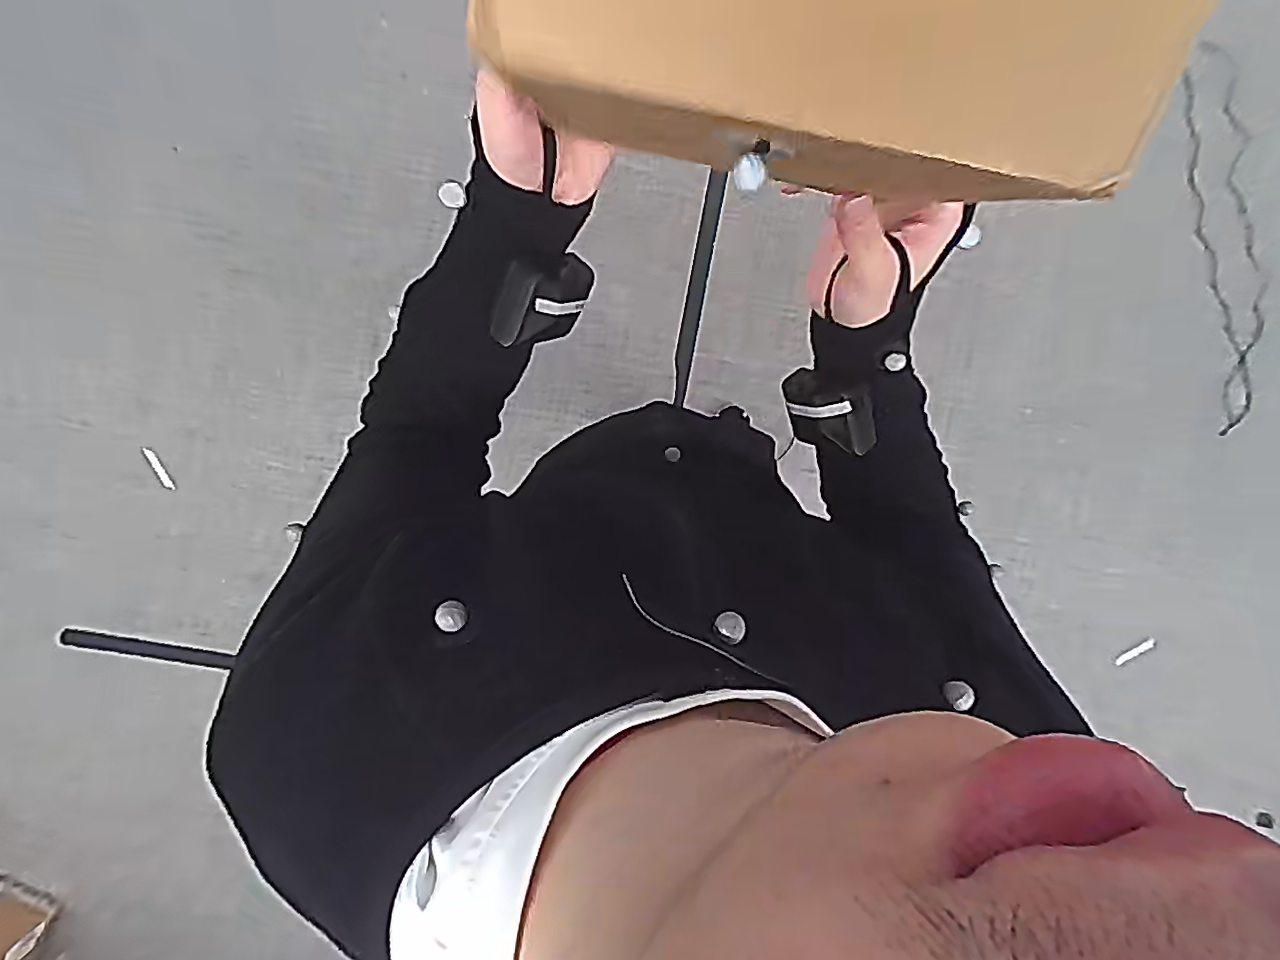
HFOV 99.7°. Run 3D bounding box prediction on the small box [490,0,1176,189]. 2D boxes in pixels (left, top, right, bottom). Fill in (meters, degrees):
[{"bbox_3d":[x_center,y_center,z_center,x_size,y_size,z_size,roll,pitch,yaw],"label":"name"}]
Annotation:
[{"bbox_3d":[0.059,-0.206,0.188,0.179,0.176,0.168,8,117,-1],"label":"small box"}]
